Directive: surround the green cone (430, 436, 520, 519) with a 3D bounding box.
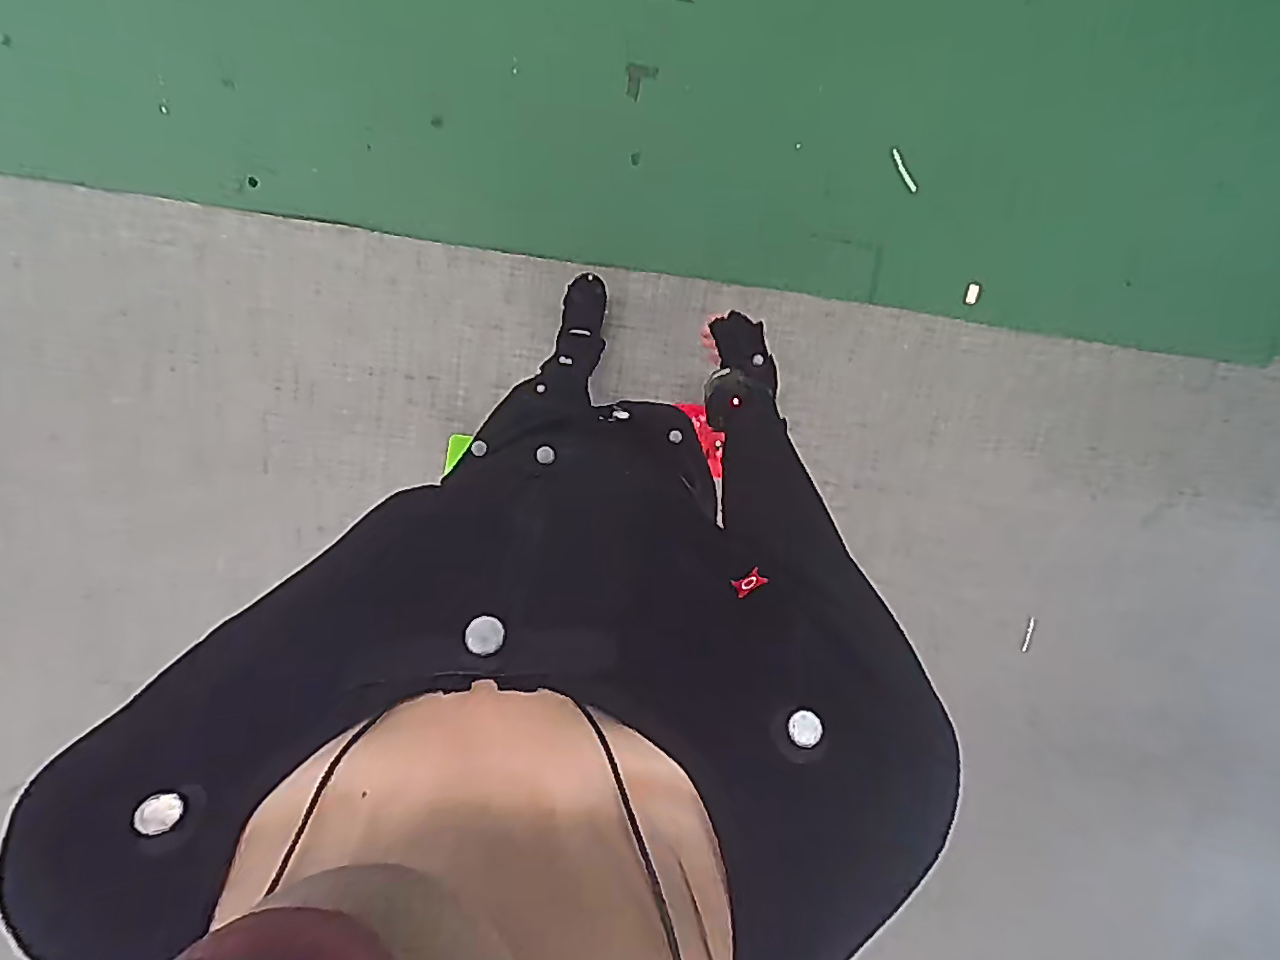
[{"bbox_3d":[-0.431,0.023,1.308,0.200,0.368,0.202,10,100,-4],"label":"green cone"}]
